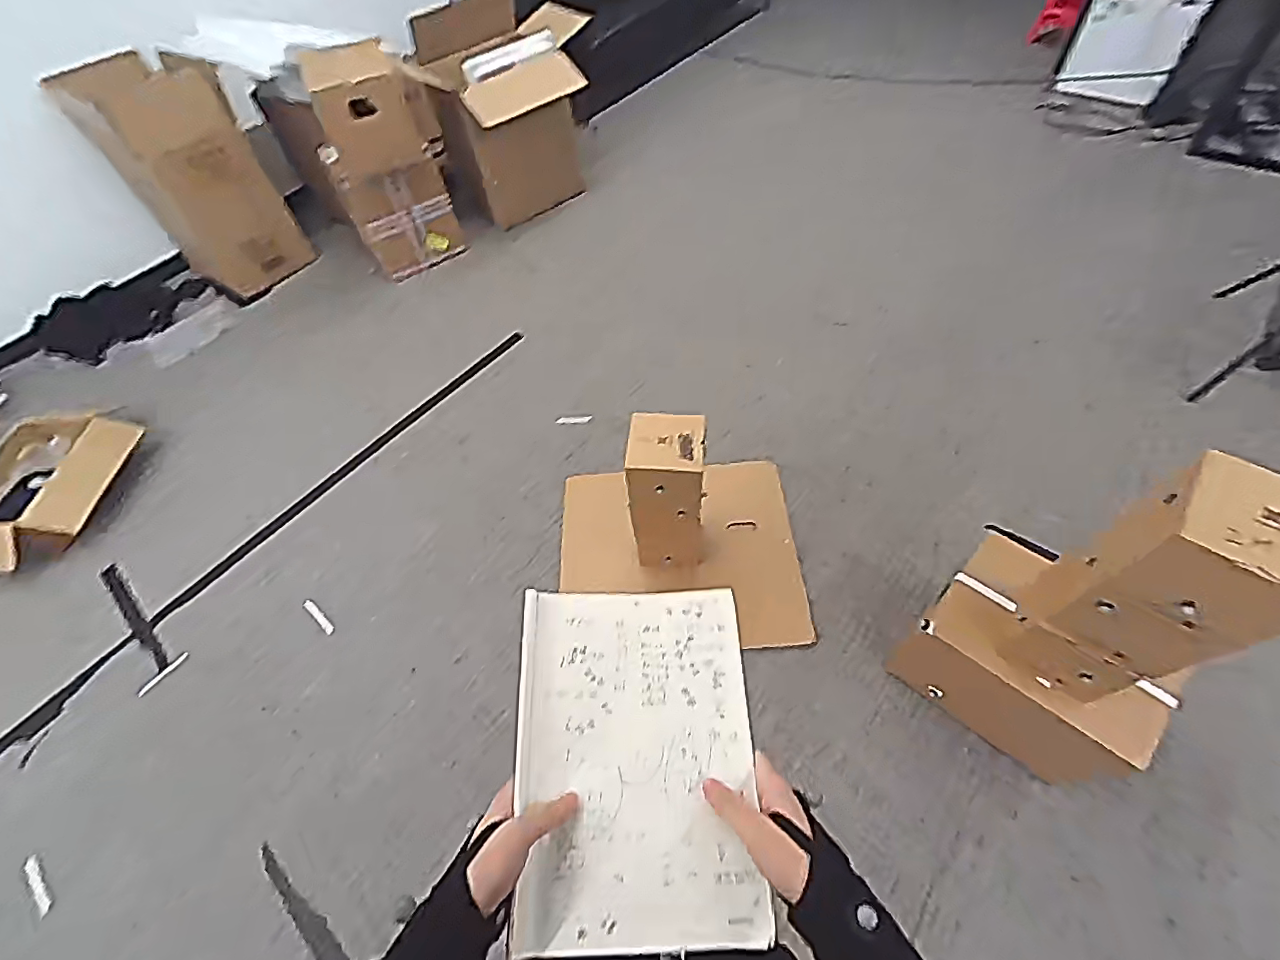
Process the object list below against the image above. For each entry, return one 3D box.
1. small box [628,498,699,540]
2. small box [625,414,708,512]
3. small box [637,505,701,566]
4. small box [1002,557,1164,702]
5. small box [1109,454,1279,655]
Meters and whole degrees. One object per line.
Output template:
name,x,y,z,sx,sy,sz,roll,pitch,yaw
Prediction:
small box,0.067,0.048,1.428,0.179,0.176,0.168,1,55,4
small box,0.068,-0.036,1.284,0.179,0.176,0.168,3,55,7
small box,0.083,0.140,1.560,0.179,0.176,0.168,0,55,3
small box,0.819,0.285,1.013,0.168,0.176,0.179,30,63,23
small box,0.798,0.104,0.739,0.168,0.176,0.179,32,65,25
